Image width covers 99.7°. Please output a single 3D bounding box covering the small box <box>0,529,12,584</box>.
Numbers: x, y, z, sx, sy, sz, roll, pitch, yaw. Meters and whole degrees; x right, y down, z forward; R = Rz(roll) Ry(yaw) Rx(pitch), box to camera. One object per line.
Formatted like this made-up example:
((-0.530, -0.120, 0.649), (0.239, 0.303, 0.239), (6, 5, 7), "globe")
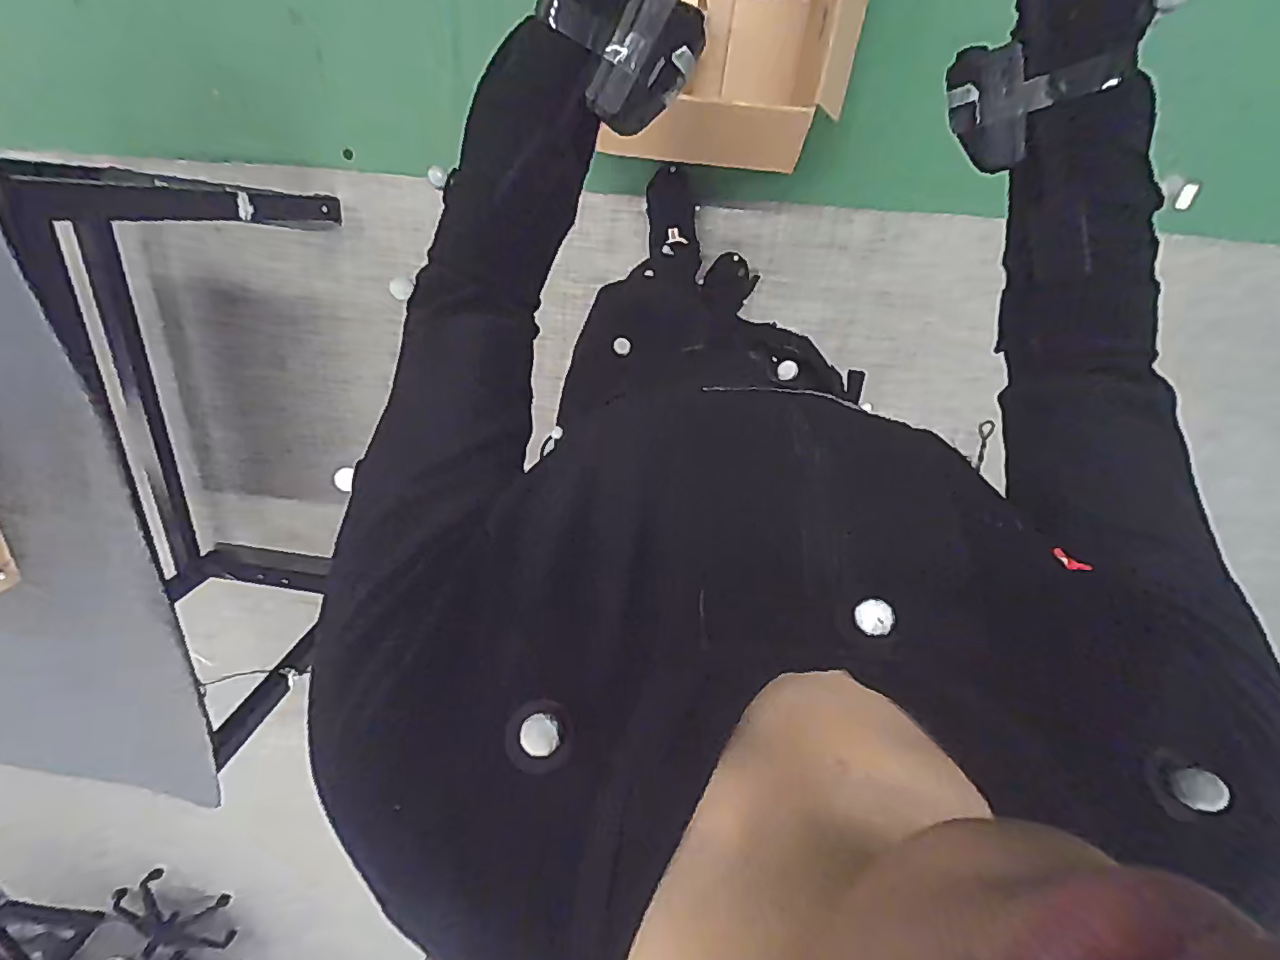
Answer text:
((-1.150, 0.117, 0.835), (0.179, 0.176, 0.168), (10, 116, 2), "small box")
